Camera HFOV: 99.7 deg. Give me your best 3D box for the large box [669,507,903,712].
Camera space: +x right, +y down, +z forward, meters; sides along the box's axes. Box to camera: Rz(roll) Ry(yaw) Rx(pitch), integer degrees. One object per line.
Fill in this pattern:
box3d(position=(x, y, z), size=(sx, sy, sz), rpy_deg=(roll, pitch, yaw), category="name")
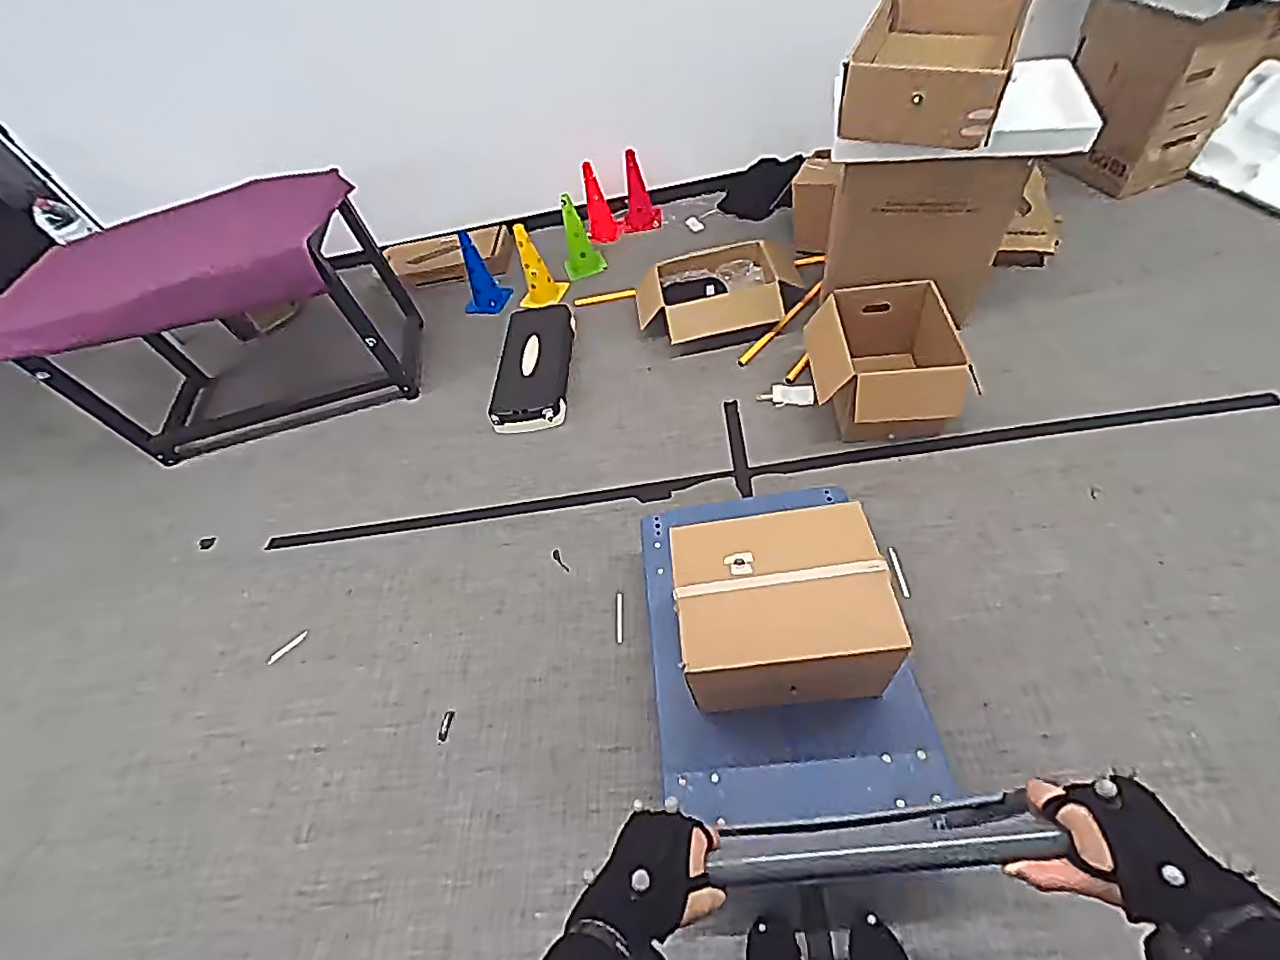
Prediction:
box3d(position=(0.298, 0.298, 1.194), size=(0.408, 0.320, 0.320), rpy_deg=(-10, 52, 7), category="large box")
